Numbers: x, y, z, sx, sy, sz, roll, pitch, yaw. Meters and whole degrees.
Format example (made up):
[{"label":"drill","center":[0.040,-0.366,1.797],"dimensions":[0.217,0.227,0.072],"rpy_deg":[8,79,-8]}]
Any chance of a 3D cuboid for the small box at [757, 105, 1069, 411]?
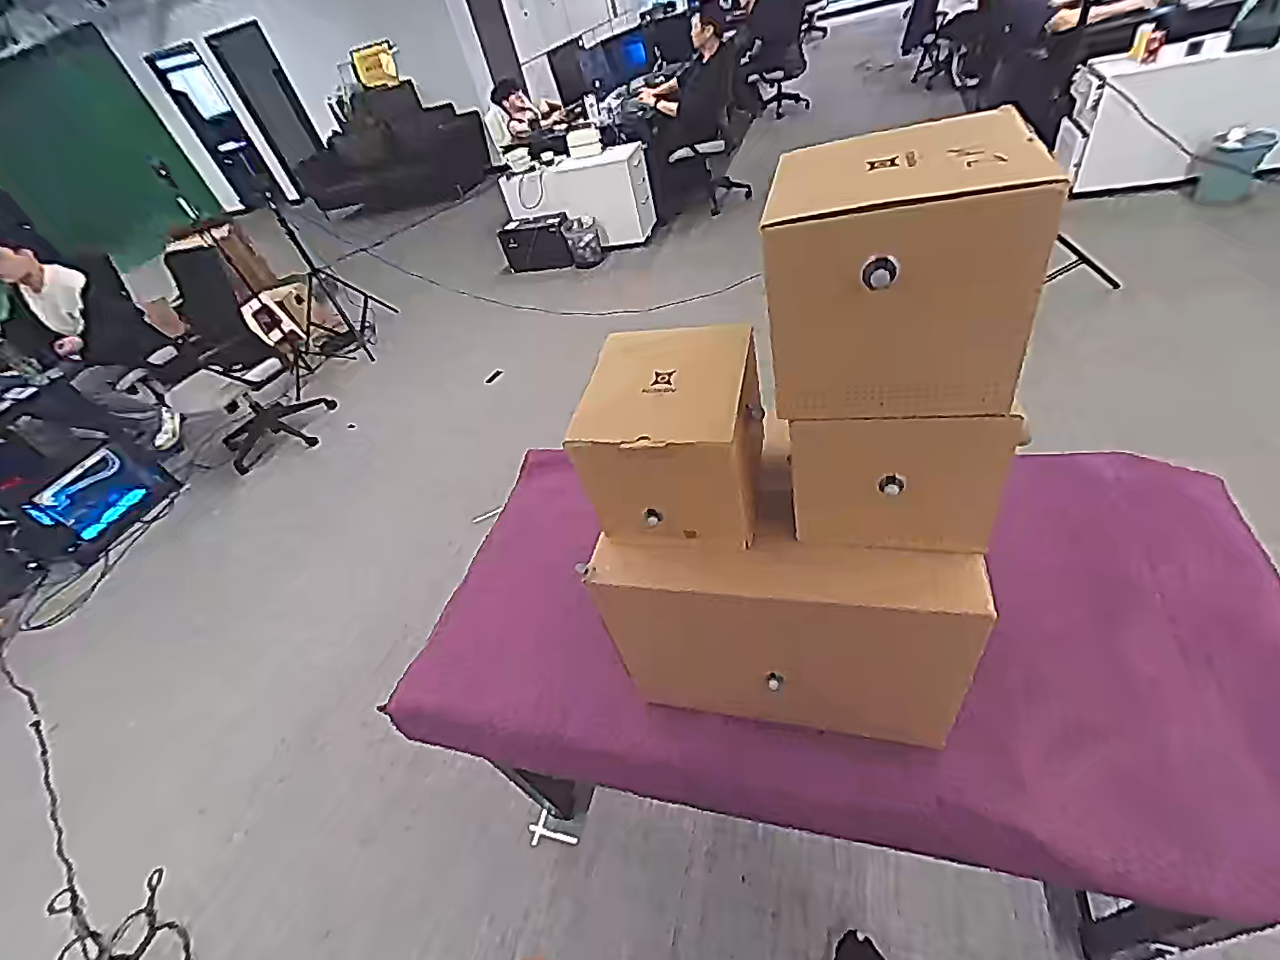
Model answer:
[{"label":"small box","center":[0.199,-0.167,0.433],"dimensions":[0.179,0.176,0.168],"rpy_deg":[1,45,21]}]
